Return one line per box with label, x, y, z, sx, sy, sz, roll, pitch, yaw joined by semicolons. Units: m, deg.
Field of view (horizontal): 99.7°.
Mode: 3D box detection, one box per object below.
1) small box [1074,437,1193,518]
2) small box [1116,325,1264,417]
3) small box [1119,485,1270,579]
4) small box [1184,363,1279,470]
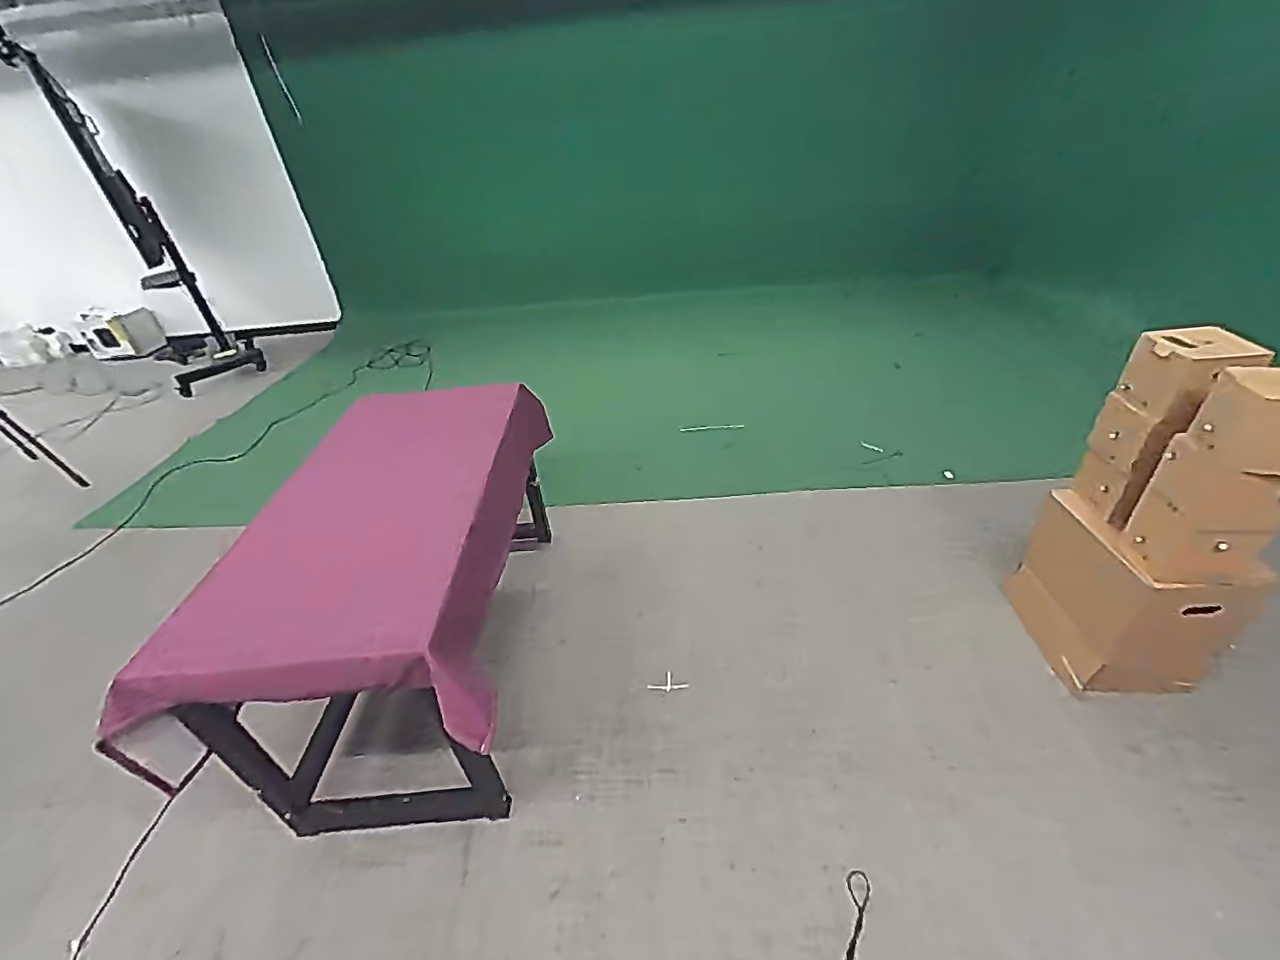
small box;1.376;-0.004;1.529;0.179;0.176;0.168;-3;37;6
small box;1.336;-0.268;1.337;0.179;0.176;0.168;-4;37;4
small box;1.352;0.129;1.336;0.179;0.176;0.168;-1;34;10
small box;1.321;-0.132;1.138;0.179;0.176;0.168;7;36;20
